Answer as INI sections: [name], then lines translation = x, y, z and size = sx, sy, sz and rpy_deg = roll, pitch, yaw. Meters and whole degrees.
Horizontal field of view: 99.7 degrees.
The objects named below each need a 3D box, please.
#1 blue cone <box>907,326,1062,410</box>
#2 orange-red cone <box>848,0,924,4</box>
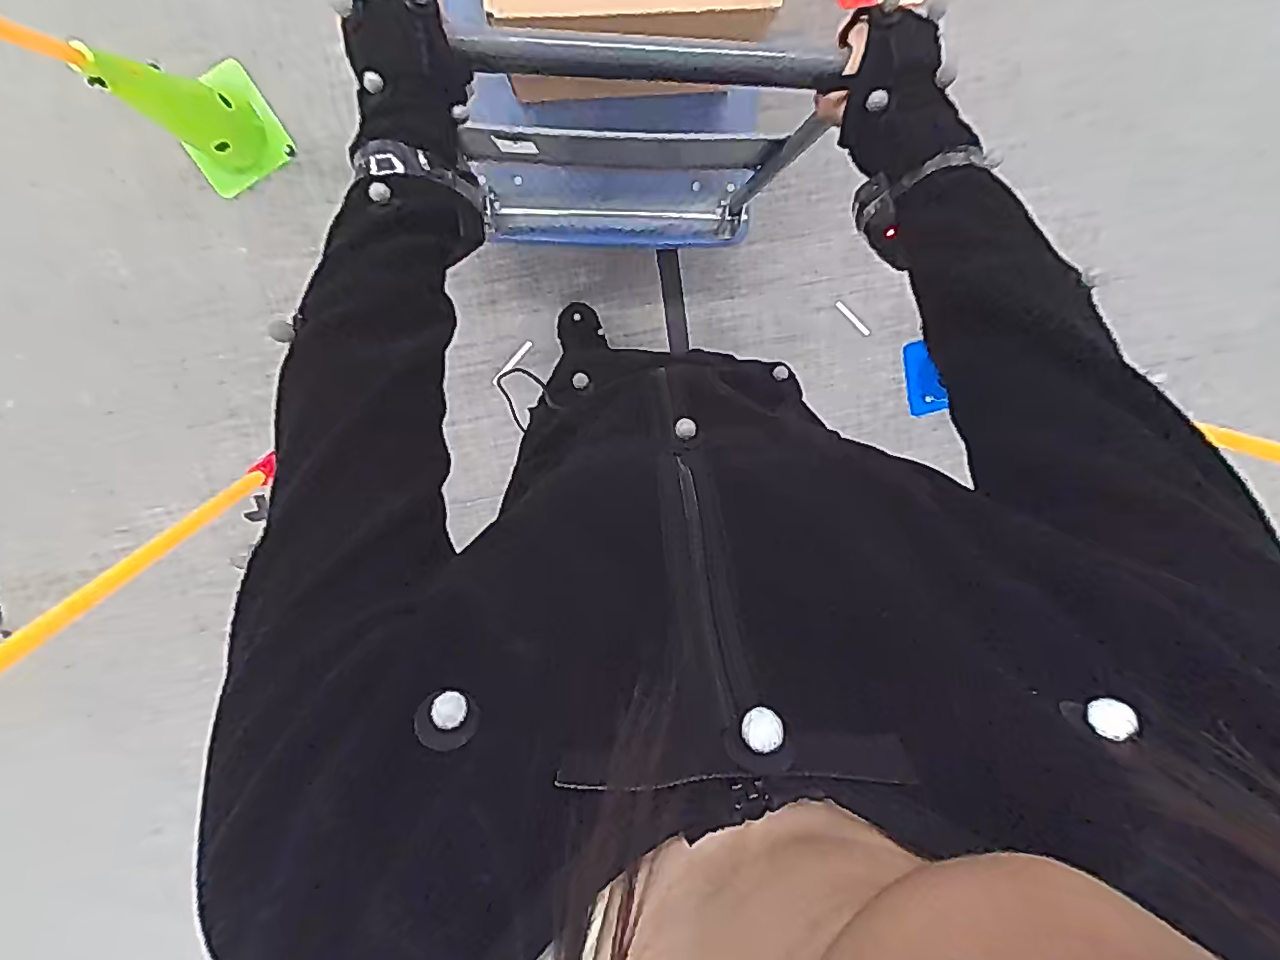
[blue cone]
translation = 0.812, -0.243, 1.256
size = 0.193, 0.380, 0.192
rpy_deg = -14, 107, -1
[orange-red cone]
translation = 0.540, -1.063, 0.966
size = 0.199, 0.360, 0.198
rpy_deg = -5, 108, -5
